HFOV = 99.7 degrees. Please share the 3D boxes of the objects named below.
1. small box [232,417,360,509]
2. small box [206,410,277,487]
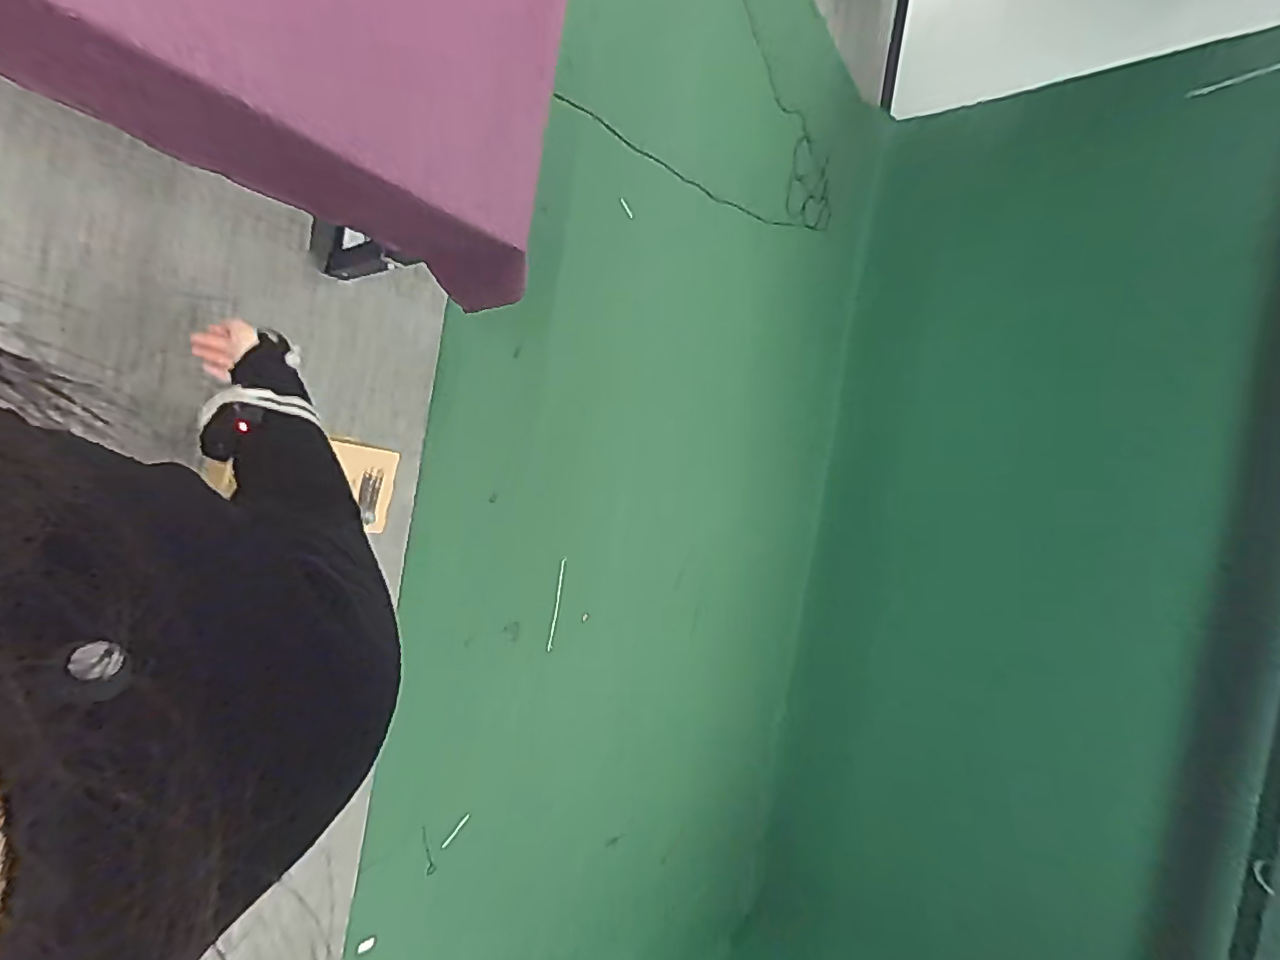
[{"bbox_3d":[-0.738,-0.038,1.156,0.179,0.176,0.168,10,91,-52],"label":"small box"},{"bbox_3d":[-0.868,-0.063,1.251,0.179,0.176,0.168,14,87,-52],"label":"small box"}]
